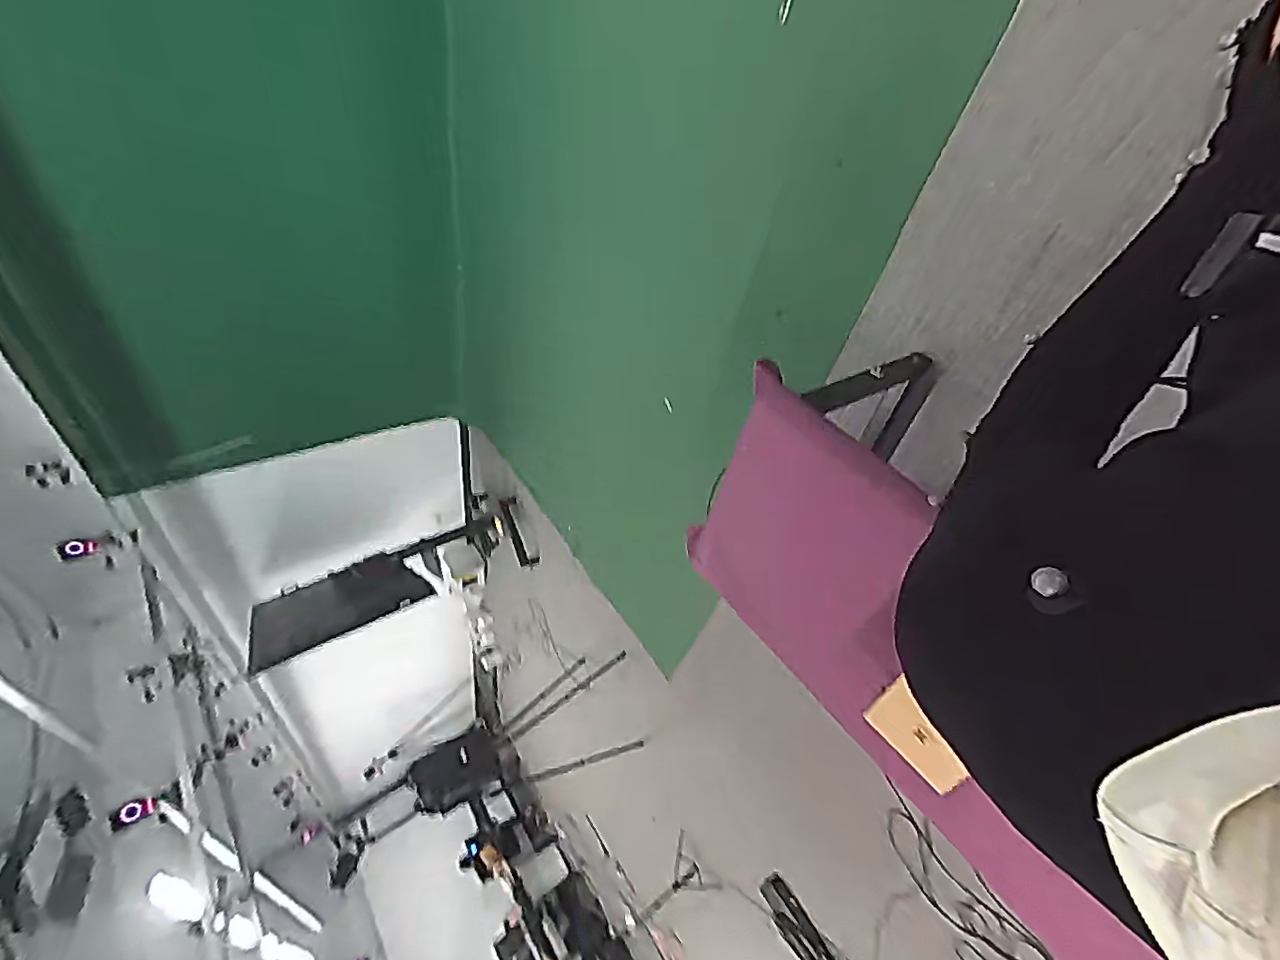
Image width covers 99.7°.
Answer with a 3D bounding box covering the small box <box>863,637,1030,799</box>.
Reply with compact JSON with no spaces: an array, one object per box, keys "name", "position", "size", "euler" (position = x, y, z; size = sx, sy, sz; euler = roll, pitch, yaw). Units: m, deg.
[{"name":"small box","position":[0.545,0.419,0.964],"size":[0.168,0.176,0.179],"euler":[45,139,32]}]
